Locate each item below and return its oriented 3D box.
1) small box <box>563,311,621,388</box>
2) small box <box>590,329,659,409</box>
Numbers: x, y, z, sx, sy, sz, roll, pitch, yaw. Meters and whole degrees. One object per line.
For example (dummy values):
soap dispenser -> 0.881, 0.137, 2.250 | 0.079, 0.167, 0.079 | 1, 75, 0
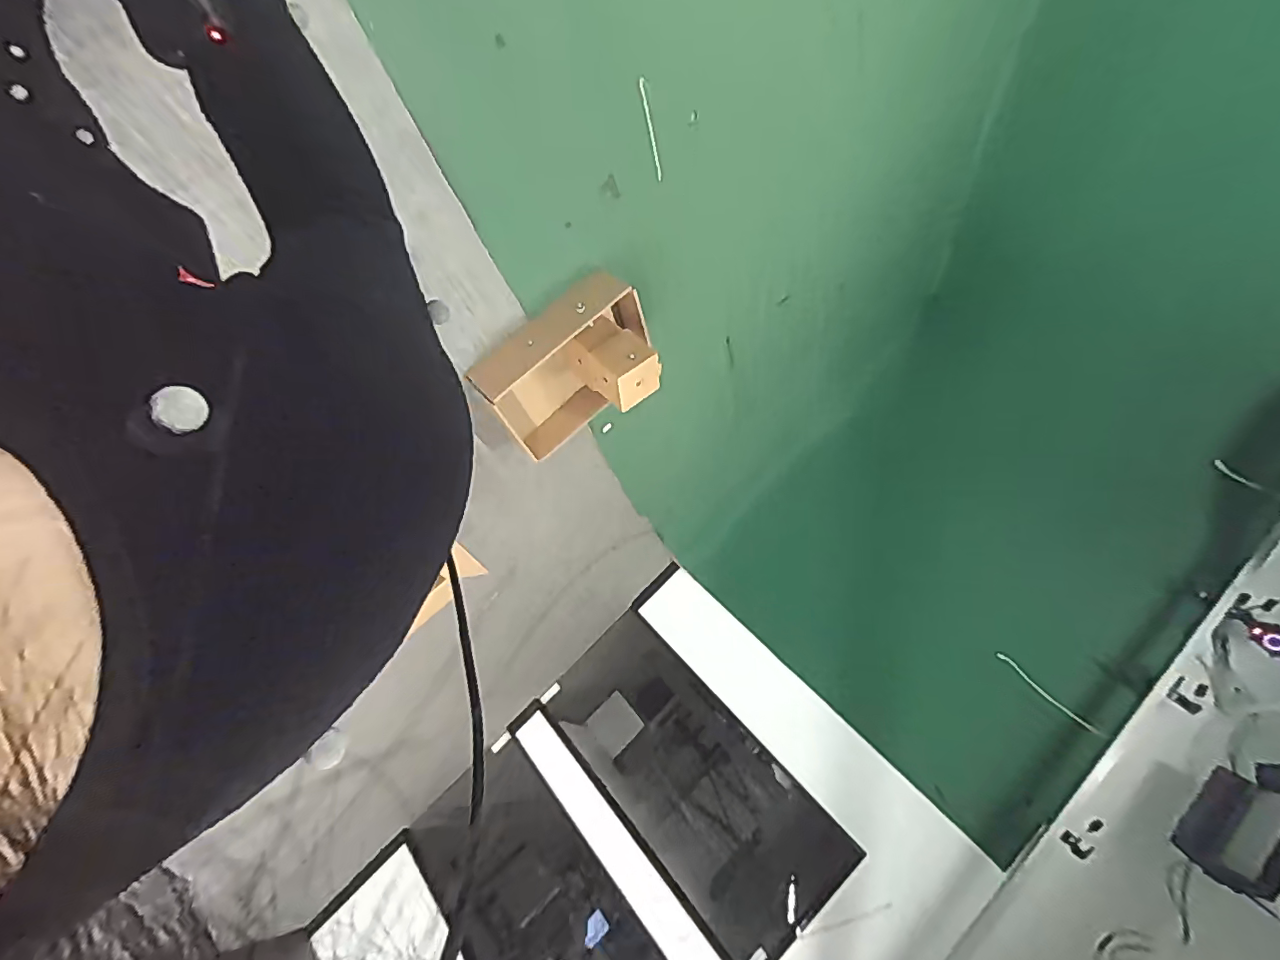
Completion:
small box -> -0.156, -0.470, 1.939 | 0.168, 0.176, 0.179 | -34, 149, -23
small box -> -0.058, -0.380, 1.844 | 0.179, 0.176, 0.168 | -37, 151, -19
